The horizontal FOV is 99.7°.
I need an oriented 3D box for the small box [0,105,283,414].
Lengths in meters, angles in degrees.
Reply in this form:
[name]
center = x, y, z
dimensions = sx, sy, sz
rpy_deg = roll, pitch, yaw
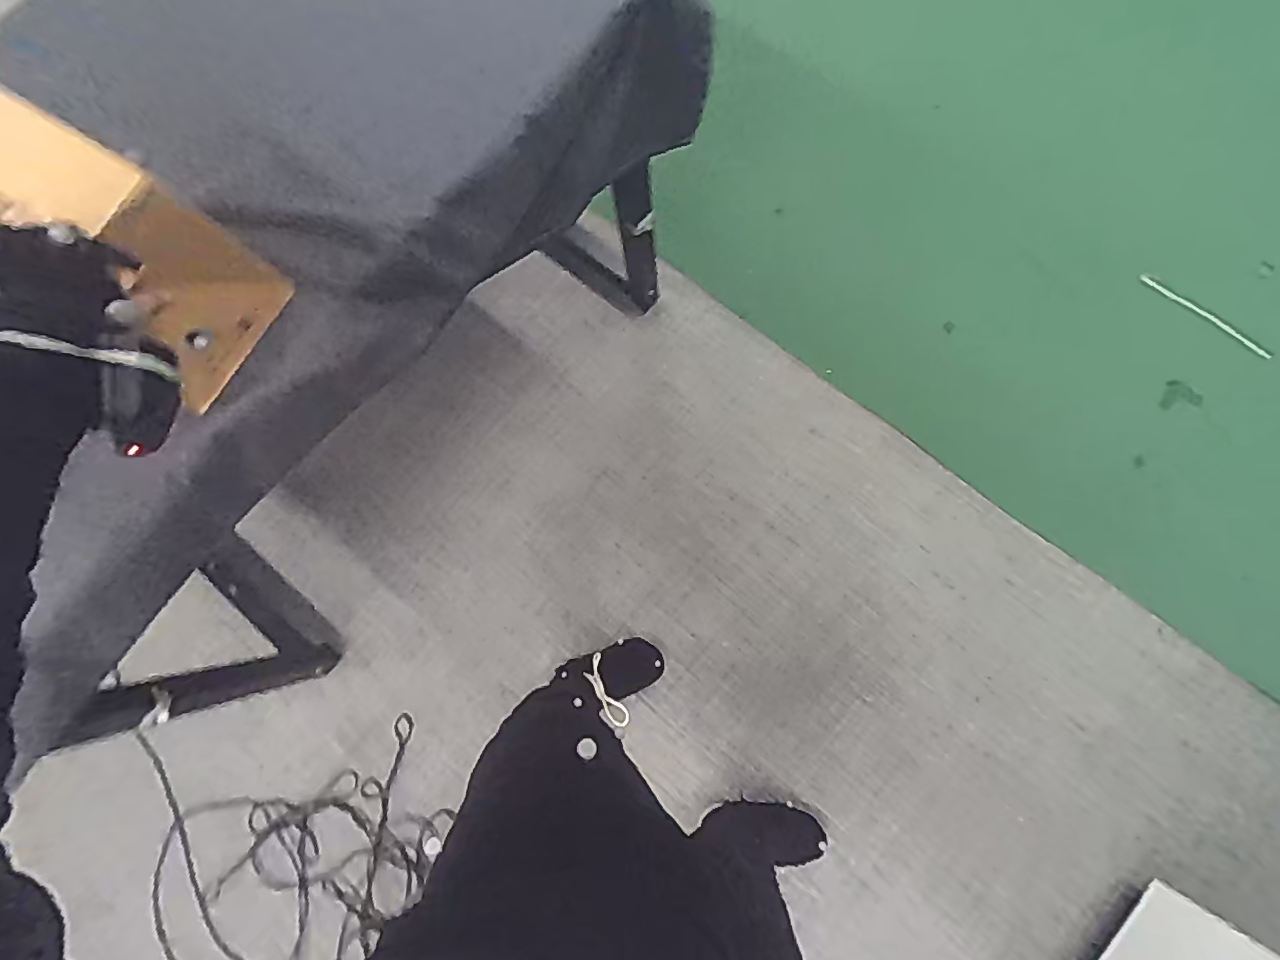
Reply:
[small box]
center = -0.490, -0.182, 0.494
dimensions = 0.179, 0.176, 0.168
rpy_deg = 30, 83, 8
